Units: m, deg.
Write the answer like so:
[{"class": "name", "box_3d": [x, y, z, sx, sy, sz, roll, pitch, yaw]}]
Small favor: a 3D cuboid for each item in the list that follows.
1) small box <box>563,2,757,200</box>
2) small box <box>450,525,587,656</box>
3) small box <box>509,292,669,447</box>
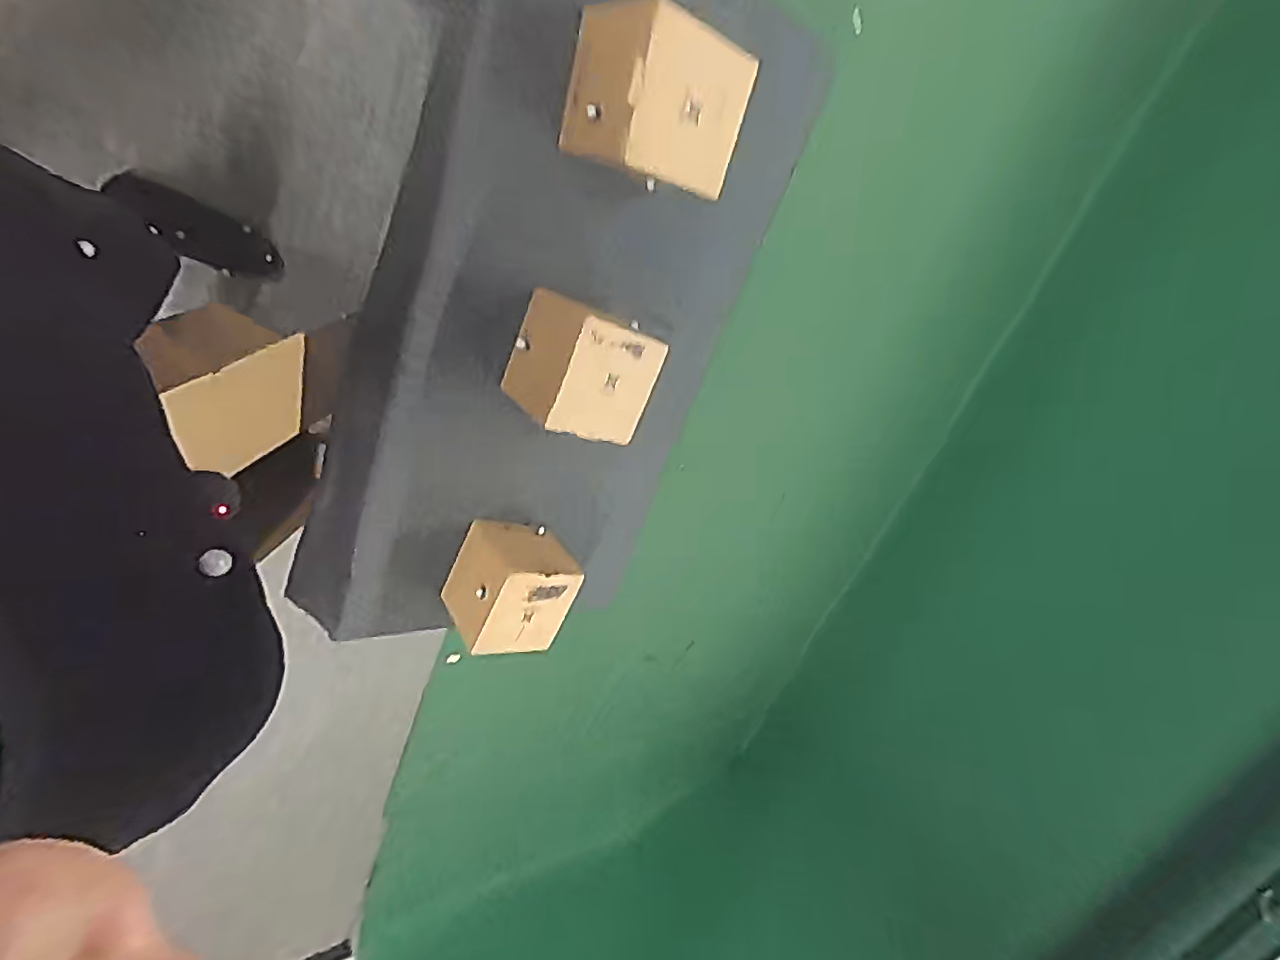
[{"class": "small box", "box_3d": [0.018, -0.501, 0.734, 0.179, 0.176, 0.168, -6, 124, -40]}, {"class": "small box", "box_3d": [-0.235, 0.204, 1.017, 0.168, 0.176, 0.179, 14, 110, -44]}, {"class": "small box", "box_3d": [-0.091, -0.176, 0.872, 0.168, 0.176, 0.179, 8, 114, -43]}]
